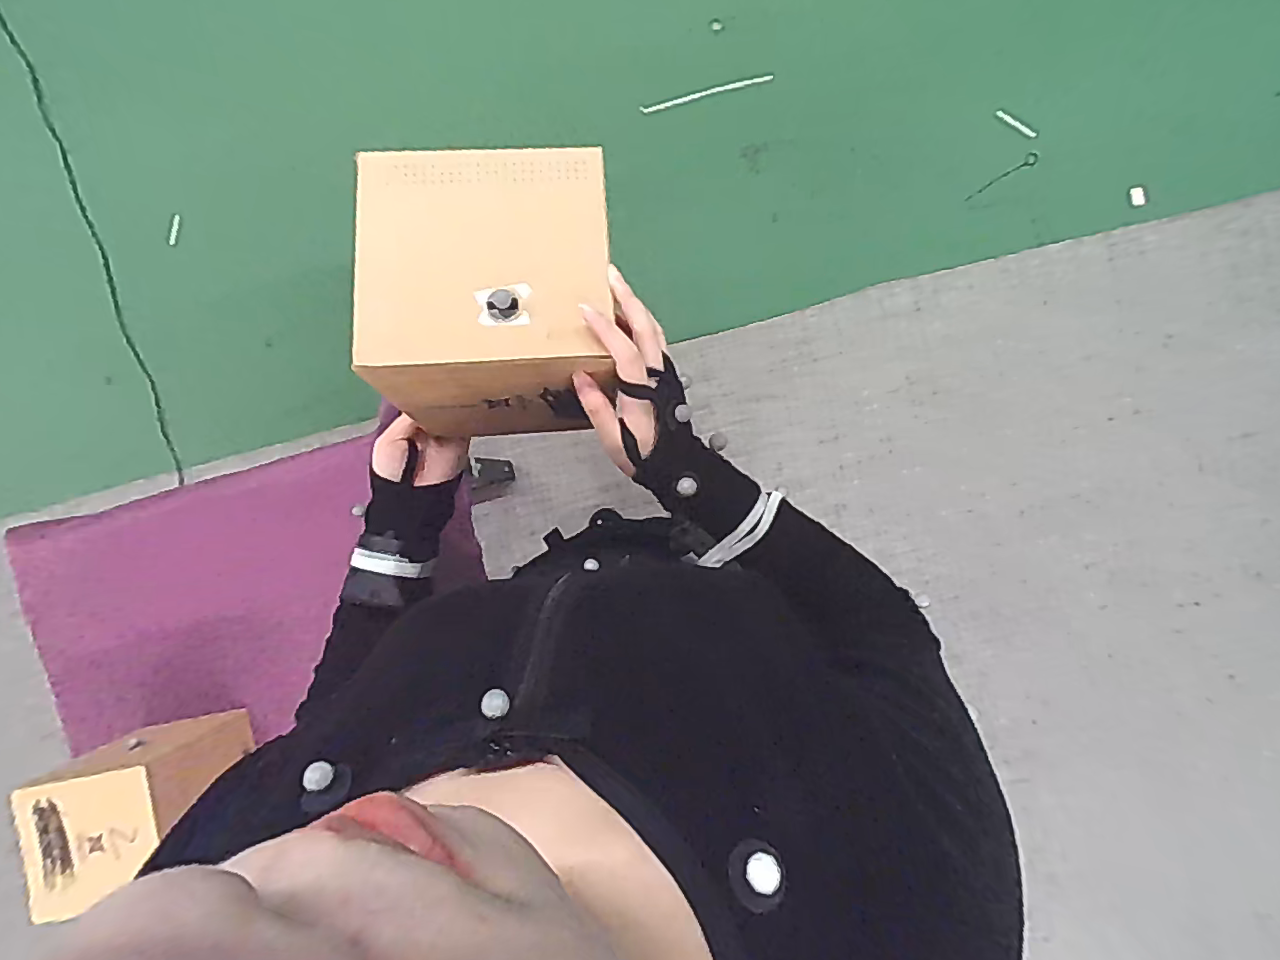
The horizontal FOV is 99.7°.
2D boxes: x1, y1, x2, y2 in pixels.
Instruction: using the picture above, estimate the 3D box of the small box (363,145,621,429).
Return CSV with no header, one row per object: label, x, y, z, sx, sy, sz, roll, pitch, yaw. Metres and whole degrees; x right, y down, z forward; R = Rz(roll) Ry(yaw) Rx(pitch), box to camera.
small box,-0.110,-0.149,0.454,0.179,0.168,0.176,-3,79,-4
